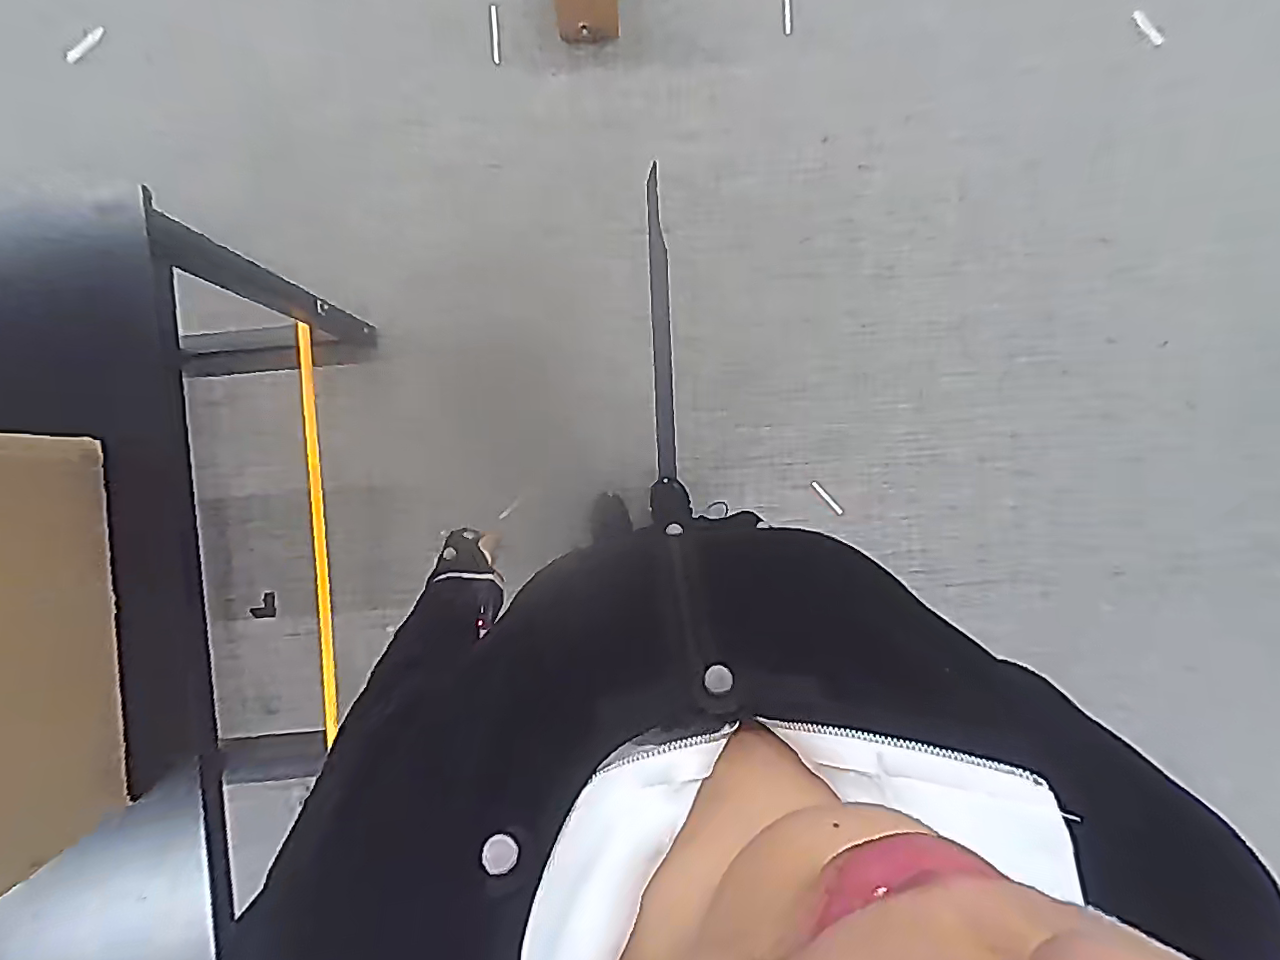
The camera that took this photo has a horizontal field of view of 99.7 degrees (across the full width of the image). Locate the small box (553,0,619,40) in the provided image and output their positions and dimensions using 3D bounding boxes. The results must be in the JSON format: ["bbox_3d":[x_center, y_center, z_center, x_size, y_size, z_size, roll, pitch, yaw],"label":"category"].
[{"bbox_3d":[-0.144,-1.281,1.383,0.168,0.176,0.179,-5,93,0],"label":"small box"}]
